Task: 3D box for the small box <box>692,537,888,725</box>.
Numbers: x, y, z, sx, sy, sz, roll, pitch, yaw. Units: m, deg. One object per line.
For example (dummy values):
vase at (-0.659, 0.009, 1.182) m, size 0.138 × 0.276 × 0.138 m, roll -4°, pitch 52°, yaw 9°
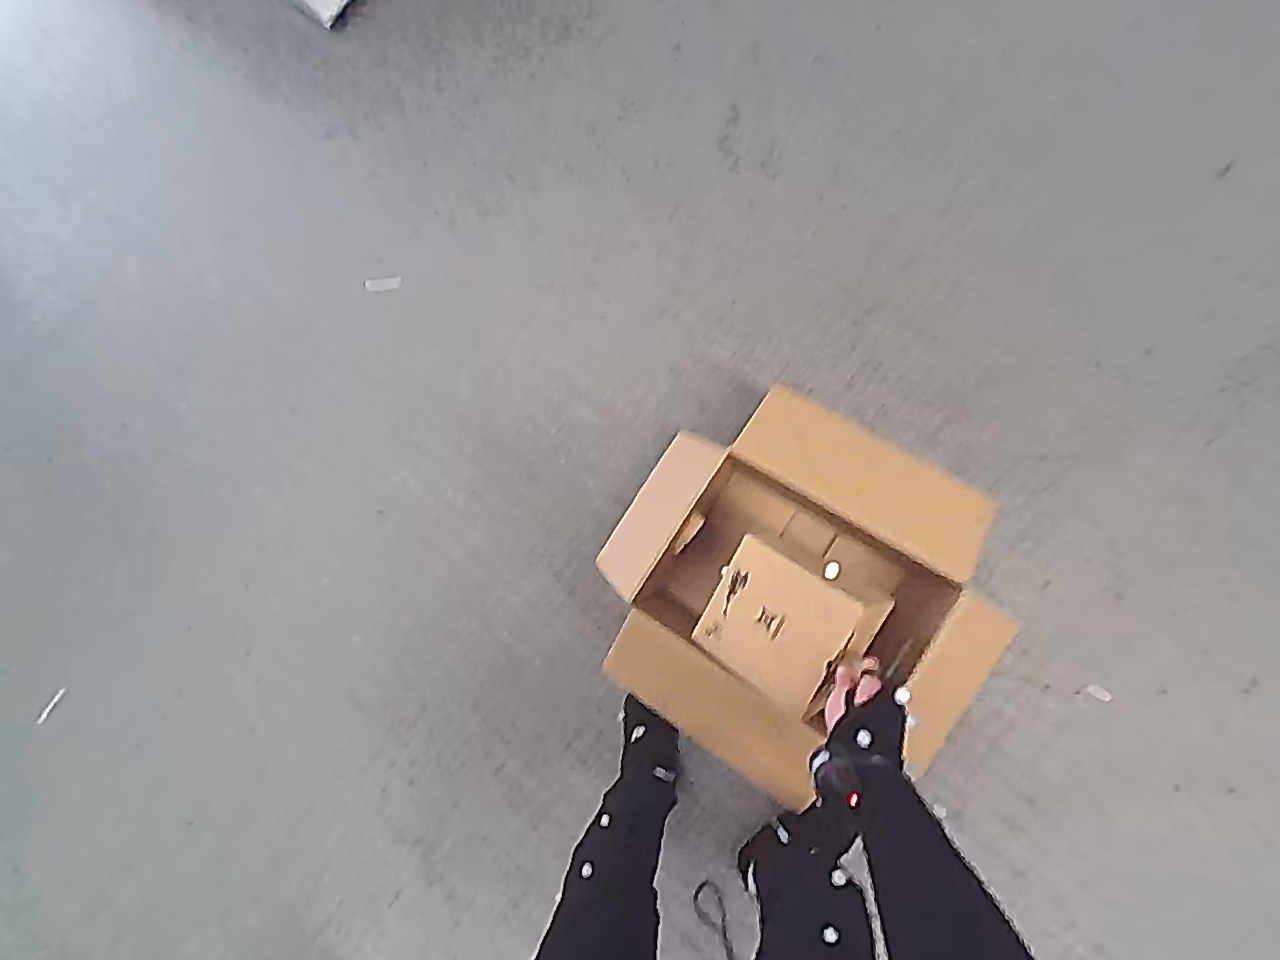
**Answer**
small box at (0.211, 0.193, 0.738) m, size 0.179 × 0.176 × 0.168 m, roll 34°, pitch 100°, yaw 33°
